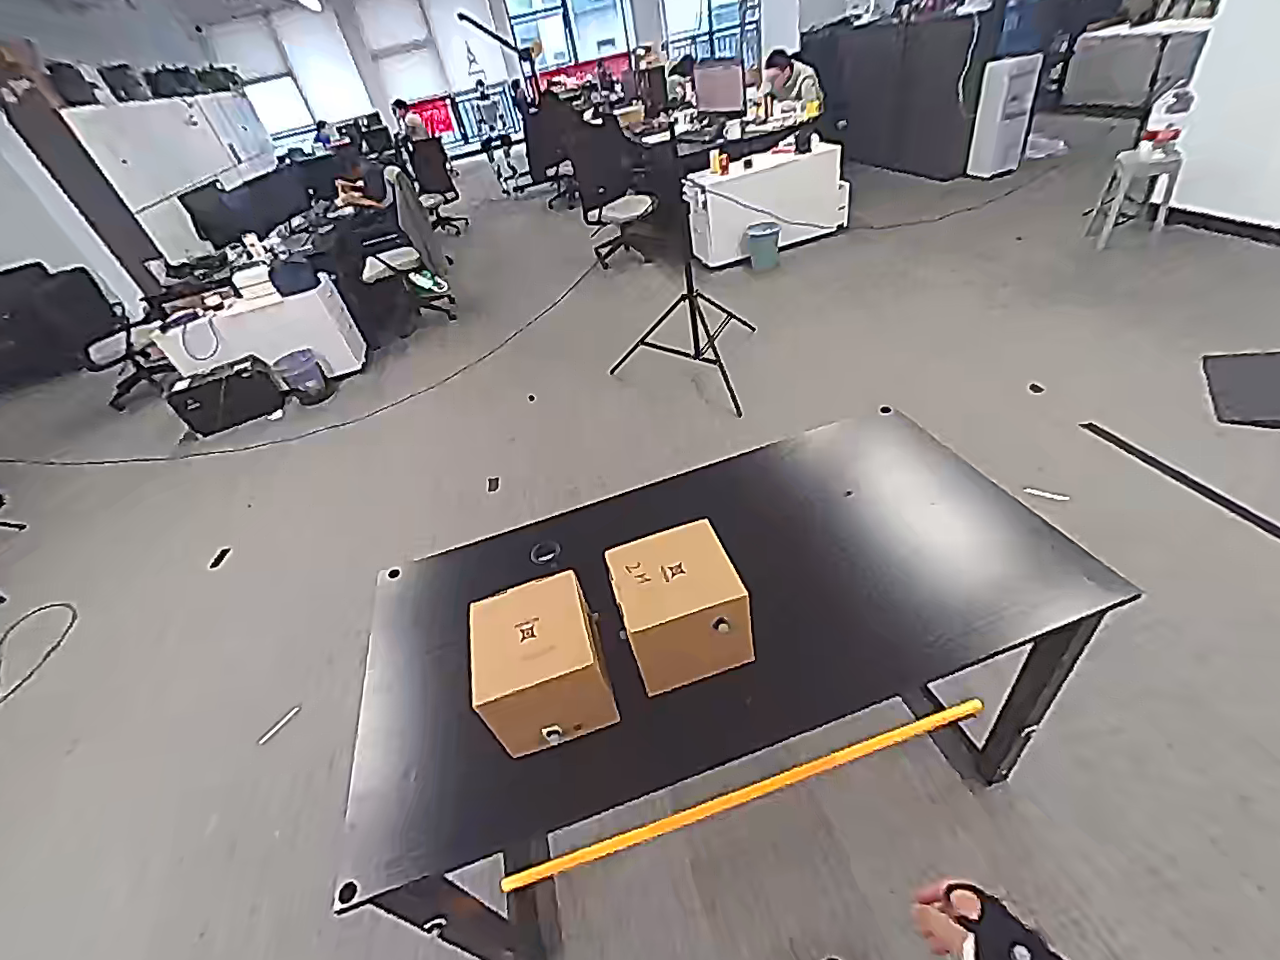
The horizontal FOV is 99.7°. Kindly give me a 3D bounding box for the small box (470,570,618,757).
[{"bbox_3d":[-0.143,0.272,0.808,0.168,0.176,0.179,-19,40,-5],"label":"small box"}]
